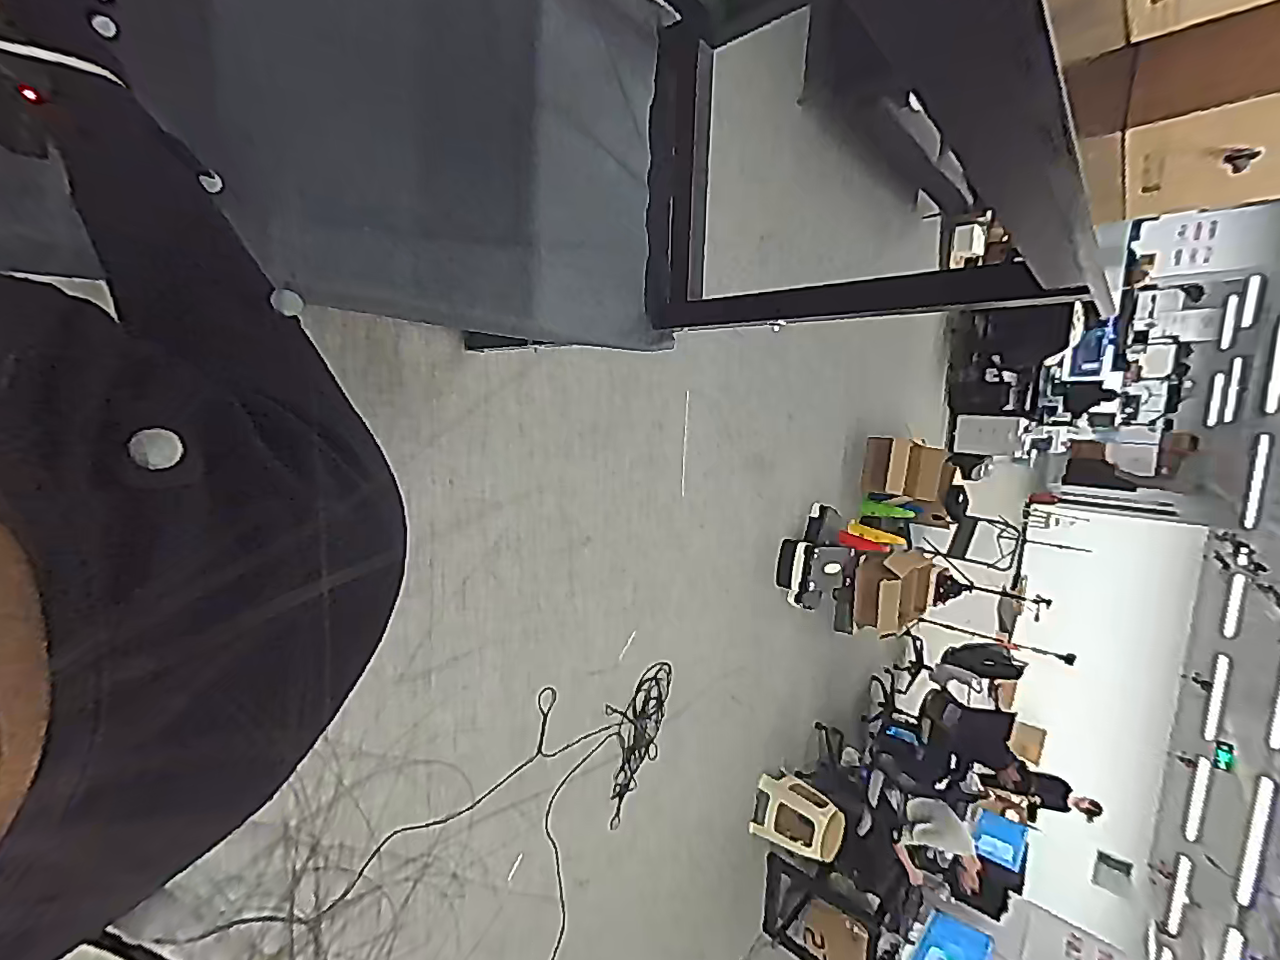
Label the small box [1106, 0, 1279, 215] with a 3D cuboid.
[{"bbox_3d":[0.539,-0.369,0.486,0.168,0.176,0.179,11,88,-49],"label":"small box"}]
